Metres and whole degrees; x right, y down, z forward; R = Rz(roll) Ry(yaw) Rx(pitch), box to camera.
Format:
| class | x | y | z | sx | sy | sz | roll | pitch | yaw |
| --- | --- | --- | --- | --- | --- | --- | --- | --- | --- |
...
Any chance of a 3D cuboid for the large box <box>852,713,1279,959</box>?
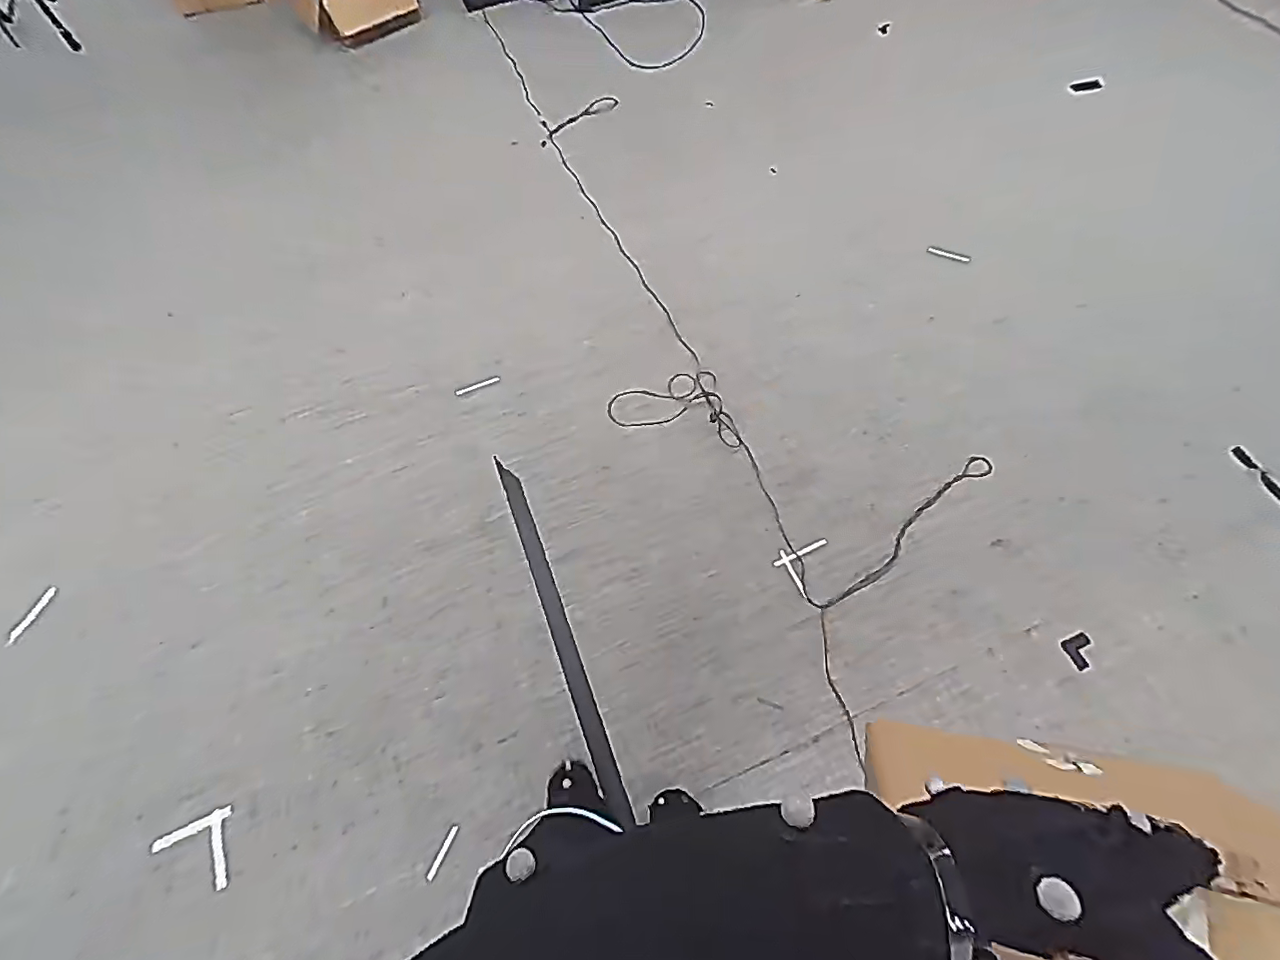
| class | x | y | z | sx | sy | sz | roll | pitch | yaw |
| --- | --- | --- | --- | --- | --- | --- | --- | --- | --- |
| large box | 0.351 | 0.450 | 0.445 | 0.320 | 0.320 | 0.408 | 0 | 80 | 20 |
